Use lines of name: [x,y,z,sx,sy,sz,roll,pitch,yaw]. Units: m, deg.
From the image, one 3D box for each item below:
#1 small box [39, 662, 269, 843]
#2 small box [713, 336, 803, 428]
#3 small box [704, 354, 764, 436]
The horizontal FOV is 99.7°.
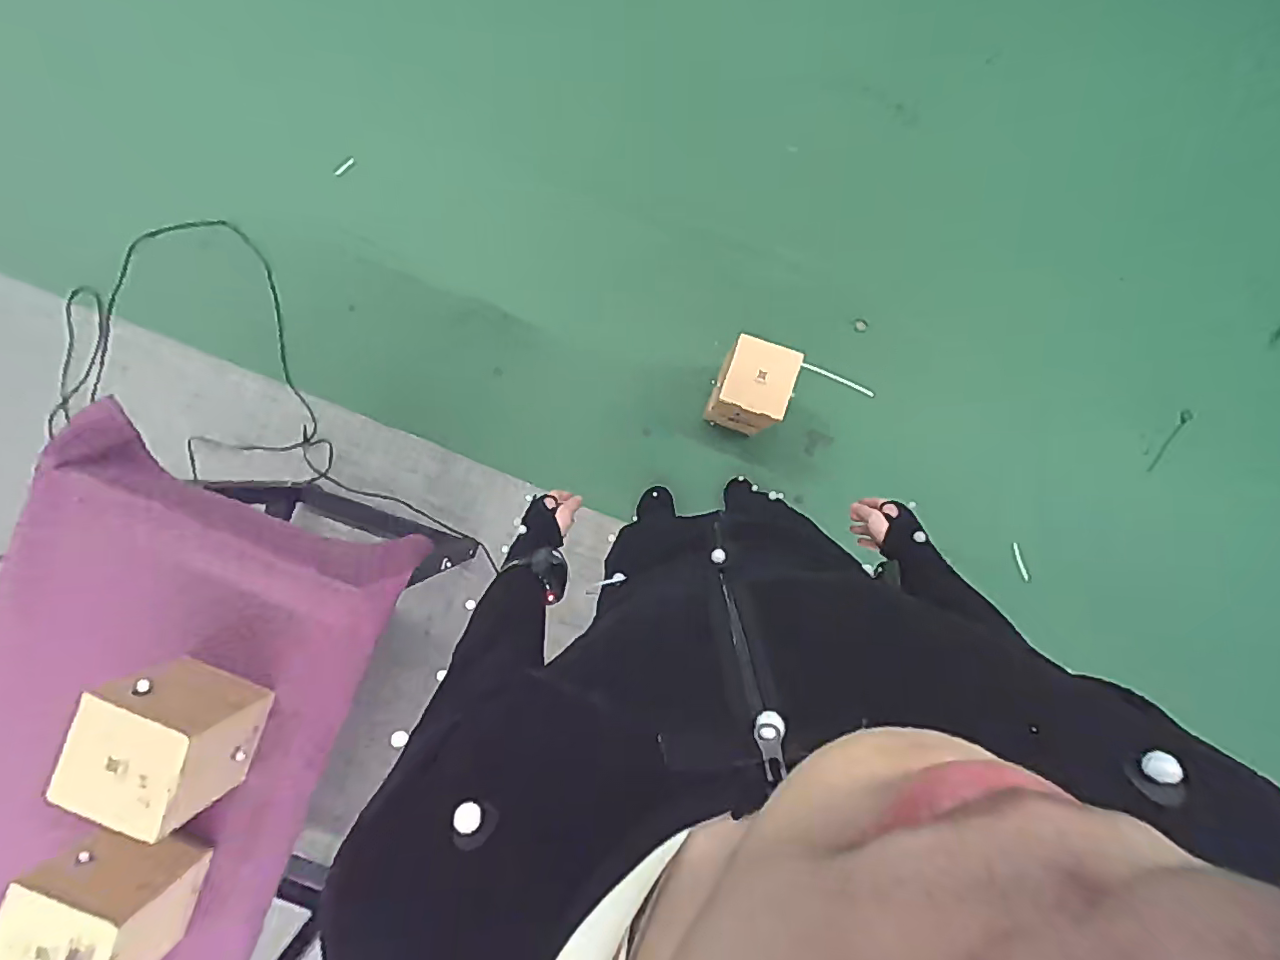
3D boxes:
small box: [-0.735,0.403,0.837,0.179,0.176,0.168,21,91,2]
small box: [0.296,-0.246,1.398,0.168,0.176,0.179,19,90,0]
small box: [0.292,-0.238,1.561,0.168,0.176,0.179,20,89,1]
